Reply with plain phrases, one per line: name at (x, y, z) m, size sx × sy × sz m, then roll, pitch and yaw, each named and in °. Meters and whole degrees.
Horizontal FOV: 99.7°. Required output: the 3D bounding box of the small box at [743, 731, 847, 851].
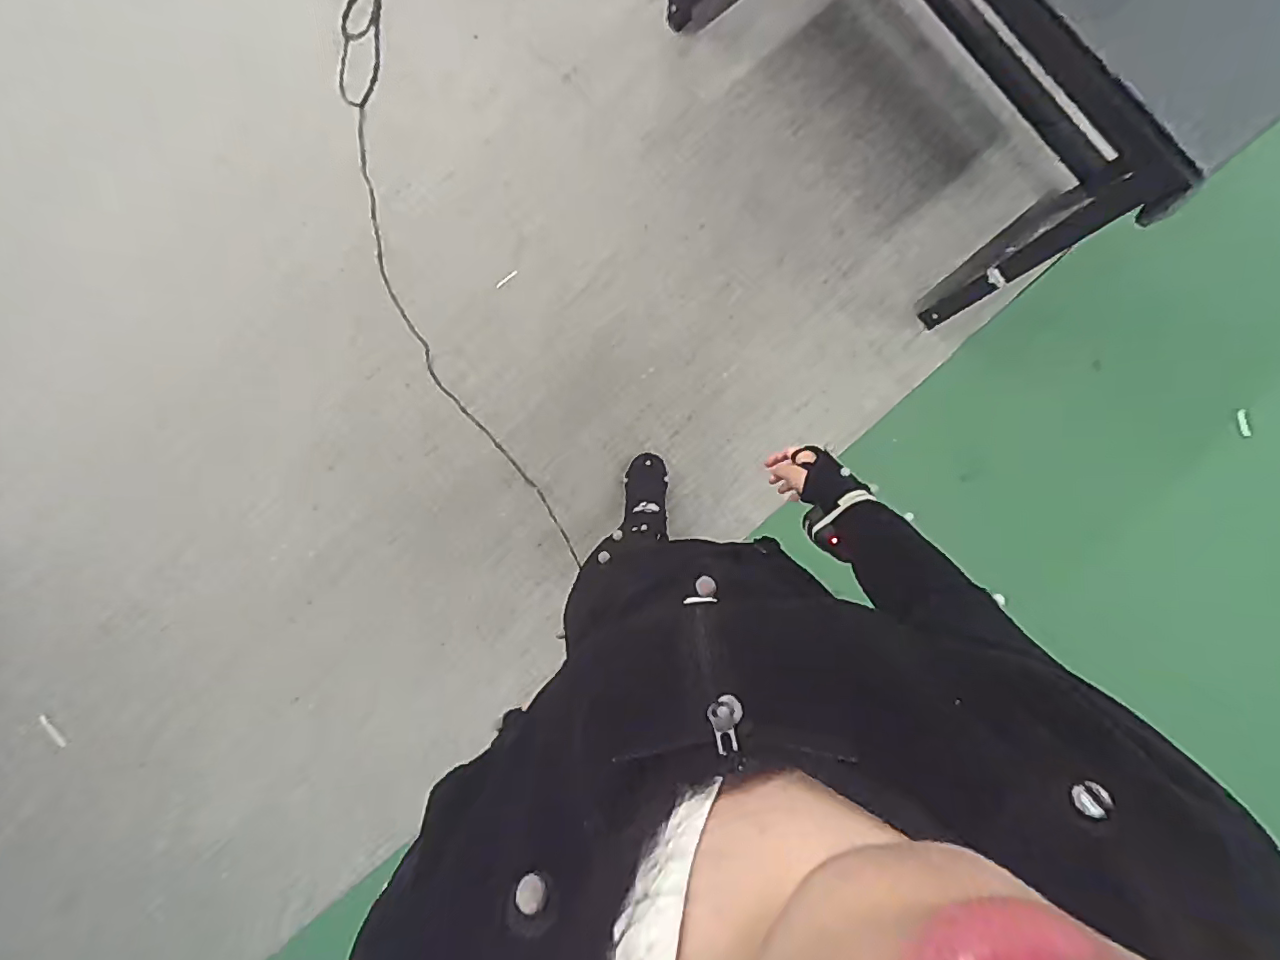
small box at (0.395, 0.796, 1.404) m, size 0.168 × 0.176 × 0.179 m, roll -39°, pitch 88°, yaw -2°
